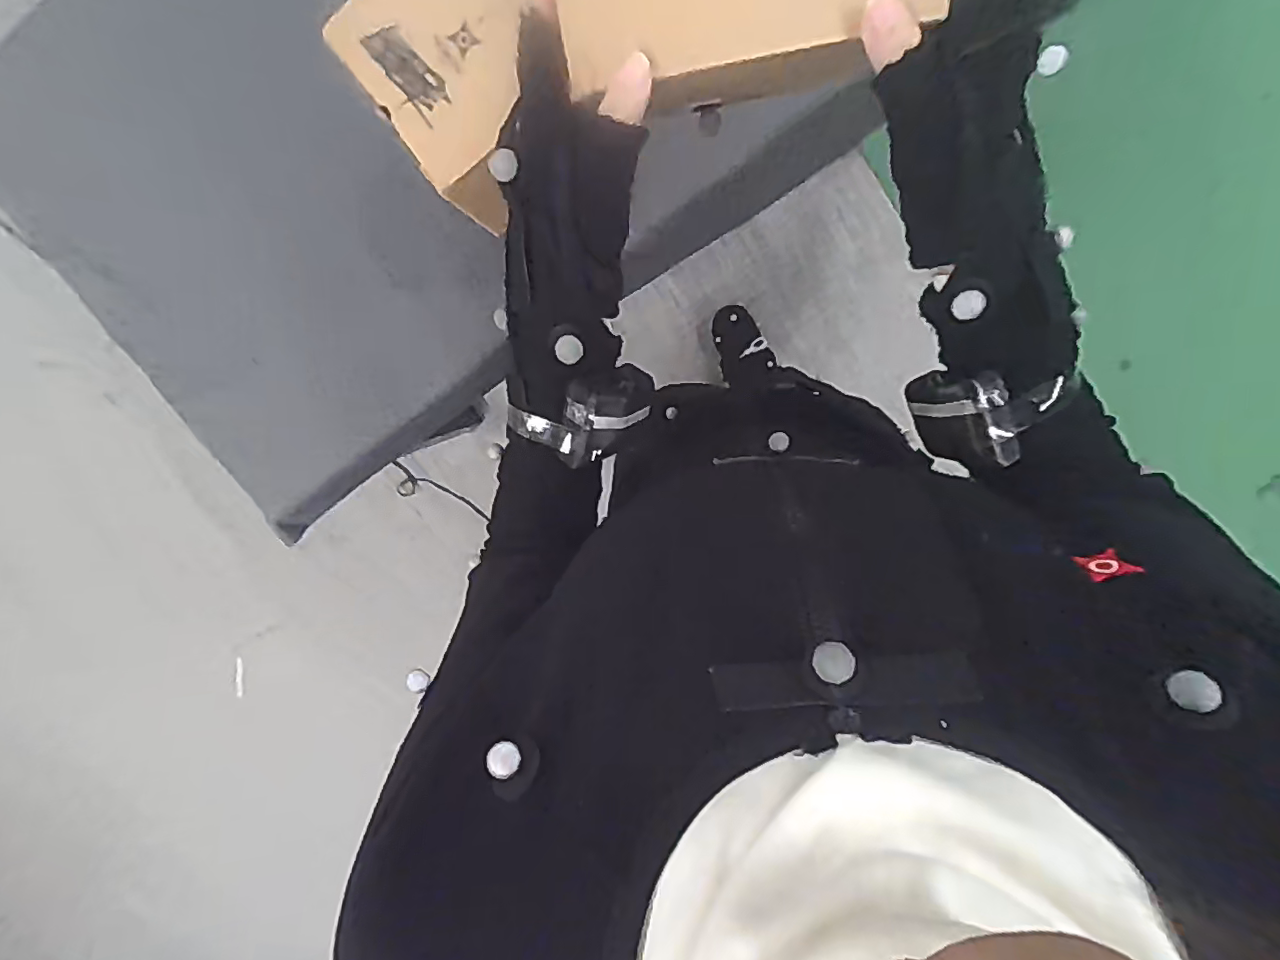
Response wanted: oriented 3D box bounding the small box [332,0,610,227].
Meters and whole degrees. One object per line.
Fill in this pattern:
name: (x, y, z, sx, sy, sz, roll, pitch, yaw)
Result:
small box: (-0.149, -0.389, 0.543, 0.179, 0.176, 0.168, -35, 98, 10)
